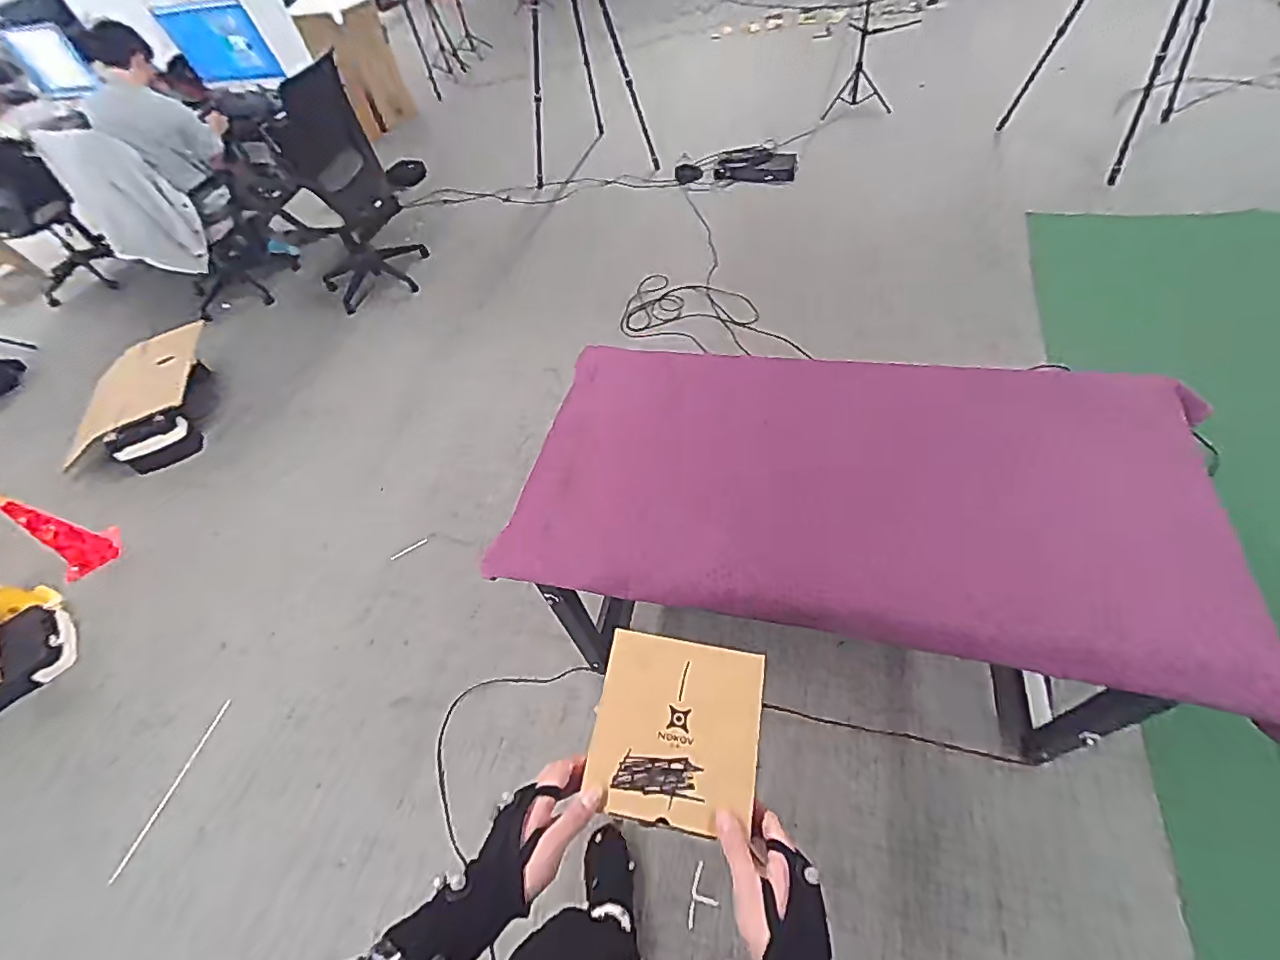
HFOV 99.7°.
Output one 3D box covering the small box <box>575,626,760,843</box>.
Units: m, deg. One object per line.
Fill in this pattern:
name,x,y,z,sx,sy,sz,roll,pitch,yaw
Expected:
small box,0.036,0.286,0.614,0.168,0.176,0.179,9,60,7
